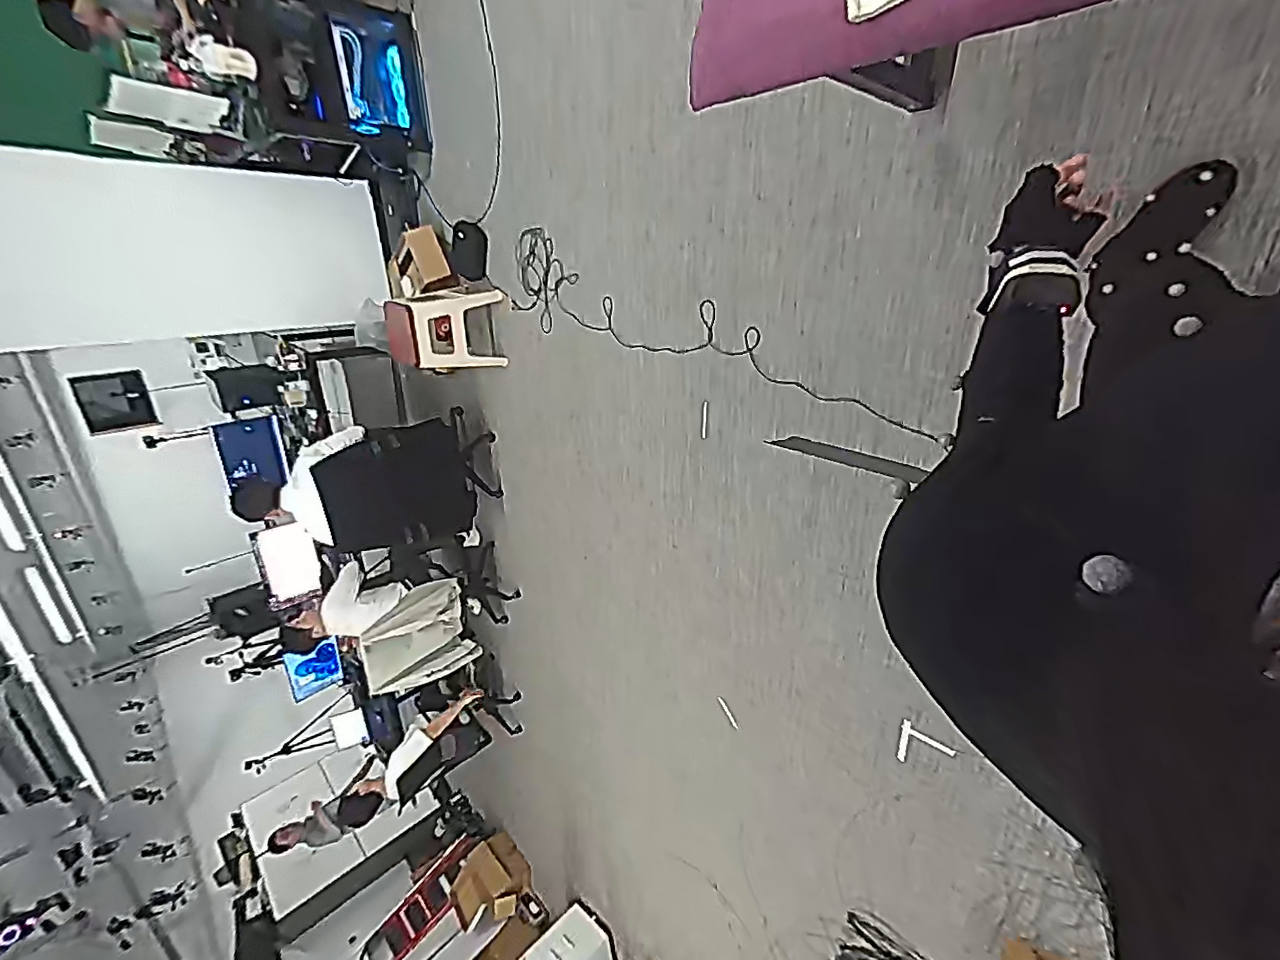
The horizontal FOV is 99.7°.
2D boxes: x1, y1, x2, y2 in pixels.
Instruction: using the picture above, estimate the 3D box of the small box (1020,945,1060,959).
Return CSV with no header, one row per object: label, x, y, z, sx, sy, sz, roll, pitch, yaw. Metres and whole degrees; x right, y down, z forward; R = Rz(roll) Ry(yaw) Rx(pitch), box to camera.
small box,1.212,1.535,1.577,0.168,0.176,0.179,-4,102,49
